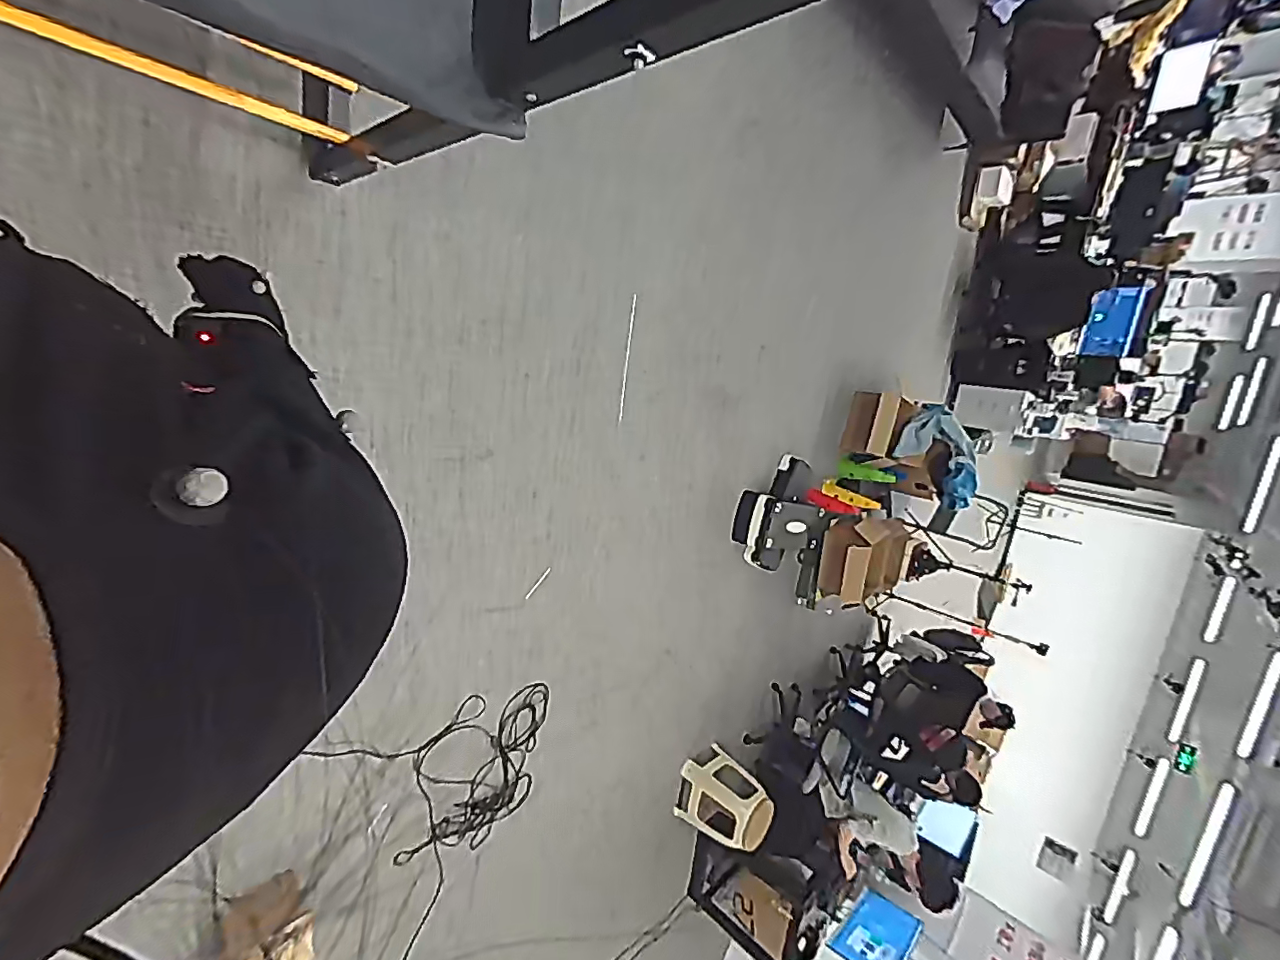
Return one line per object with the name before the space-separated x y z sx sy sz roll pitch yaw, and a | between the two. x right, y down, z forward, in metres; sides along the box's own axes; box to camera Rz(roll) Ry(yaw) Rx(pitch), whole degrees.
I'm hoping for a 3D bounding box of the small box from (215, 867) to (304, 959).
small box | -1.046 1.216 1.485 0.168 0.176 0.179 -8 110 -47
